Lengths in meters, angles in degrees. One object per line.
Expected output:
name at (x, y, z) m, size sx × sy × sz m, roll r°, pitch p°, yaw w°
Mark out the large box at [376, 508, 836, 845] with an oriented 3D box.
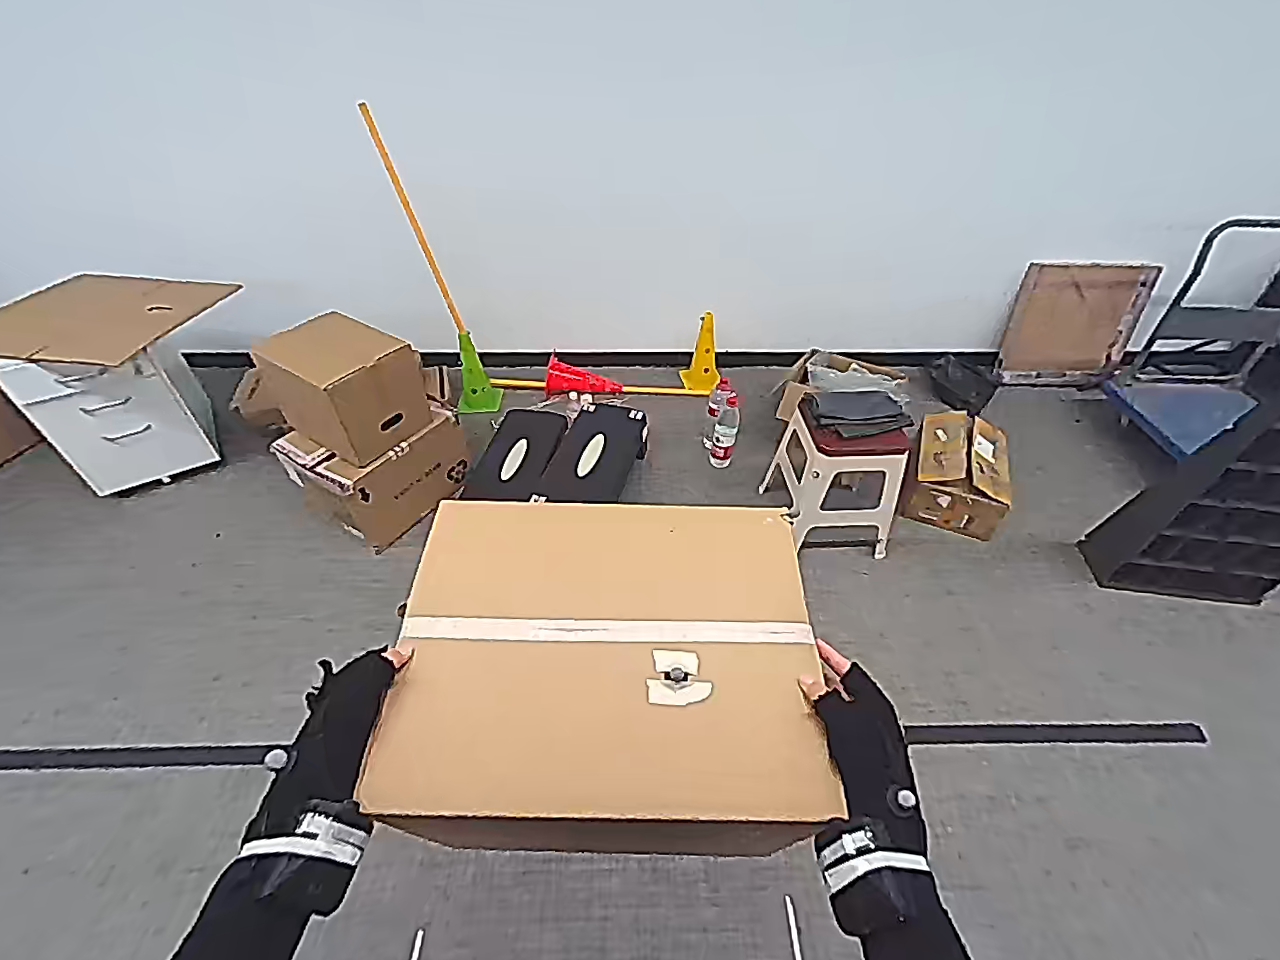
large box at (-0.032, 0.251, 0.668) m, size 0.408 × 0.320 × 0.320 m, roll 2°, pitch 52°, yaw -1°
